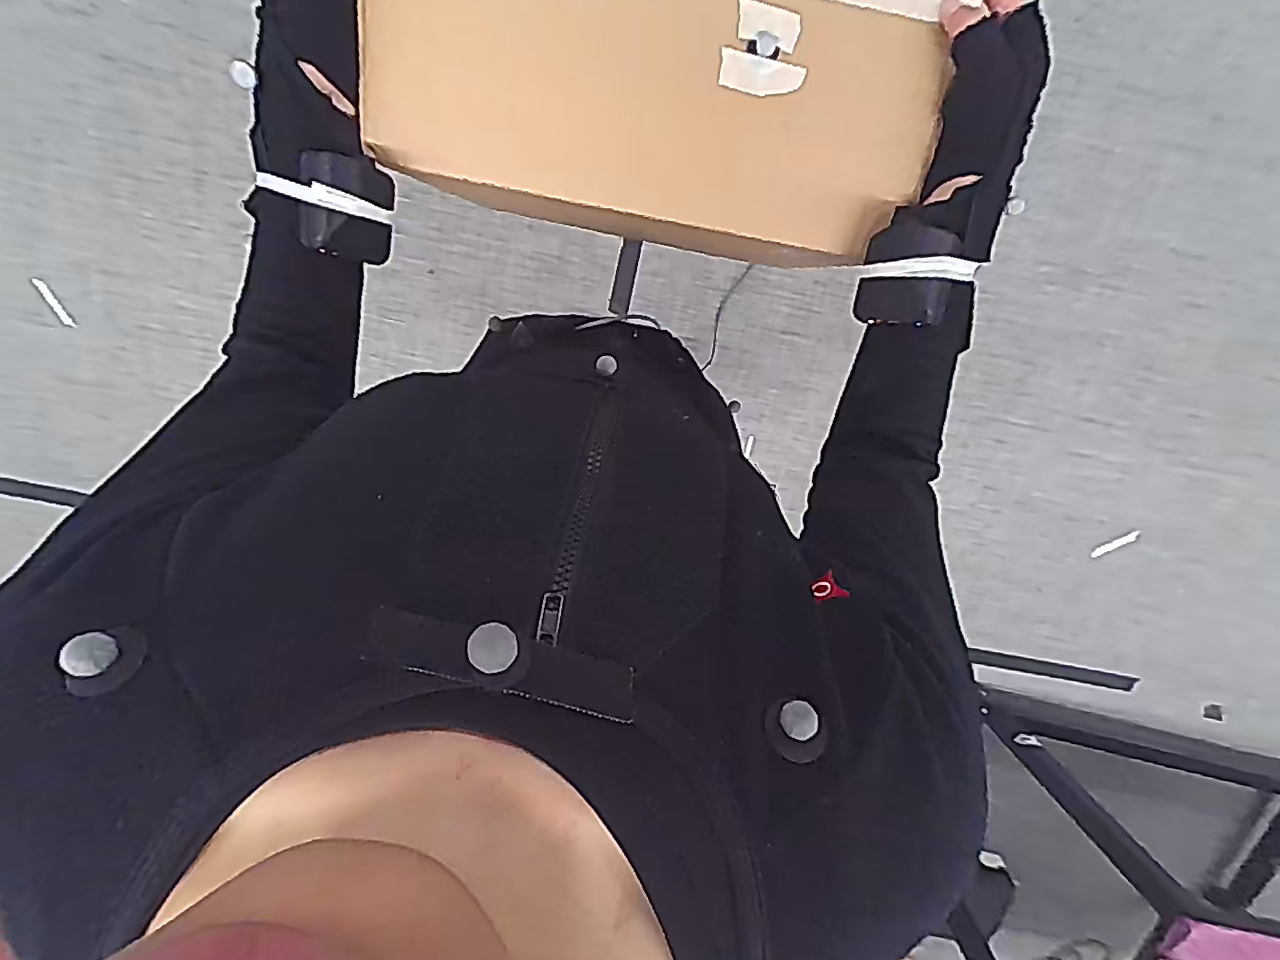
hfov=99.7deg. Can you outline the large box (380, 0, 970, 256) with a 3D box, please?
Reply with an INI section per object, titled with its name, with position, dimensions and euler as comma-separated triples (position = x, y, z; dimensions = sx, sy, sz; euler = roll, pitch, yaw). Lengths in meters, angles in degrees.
[large box]
position = 0.025, -0.405, 0.496
dimensions = 0.408, 0.320, 0.320
euler = 9, 112, -5
